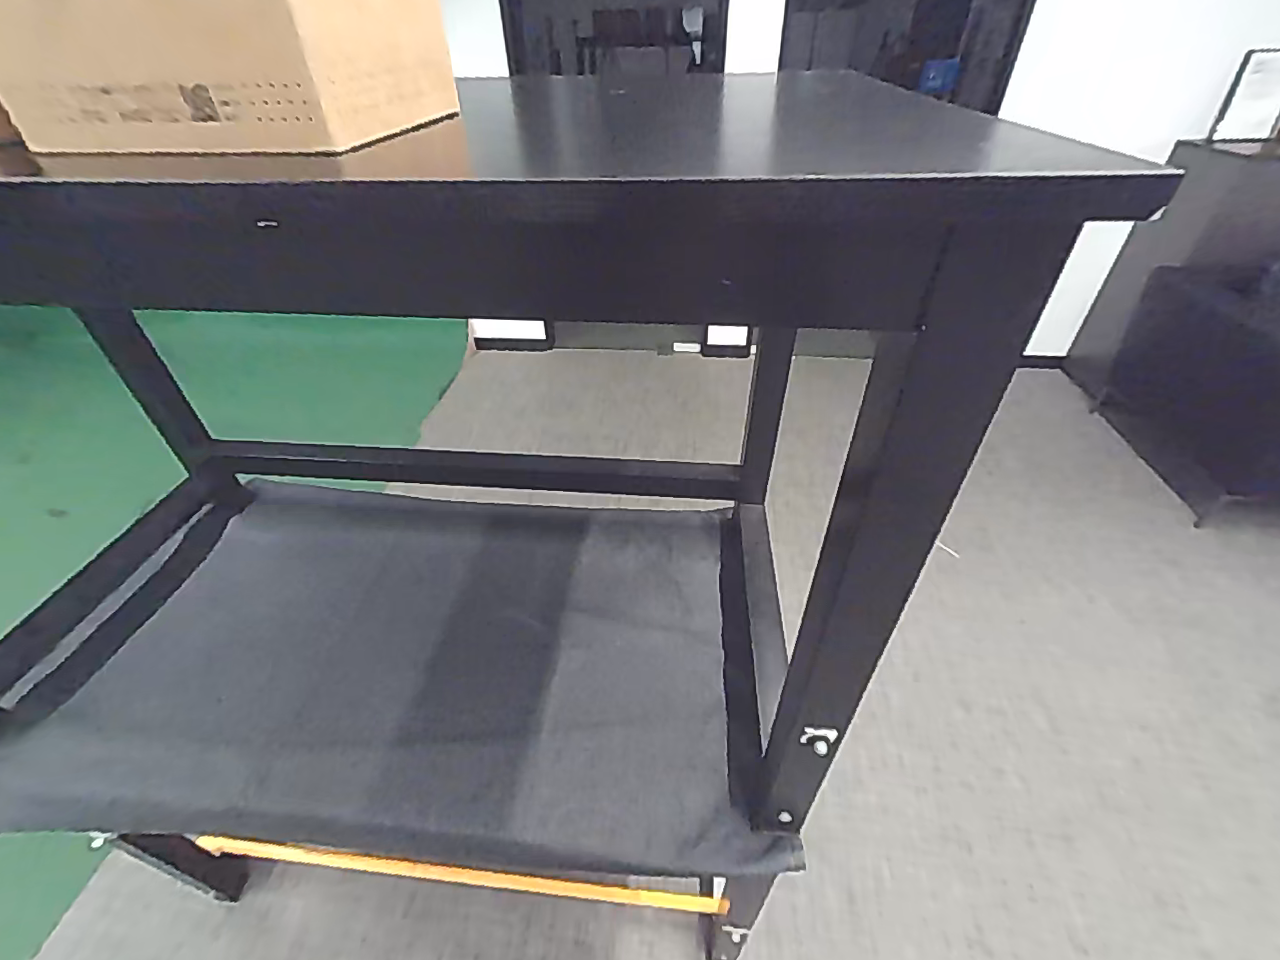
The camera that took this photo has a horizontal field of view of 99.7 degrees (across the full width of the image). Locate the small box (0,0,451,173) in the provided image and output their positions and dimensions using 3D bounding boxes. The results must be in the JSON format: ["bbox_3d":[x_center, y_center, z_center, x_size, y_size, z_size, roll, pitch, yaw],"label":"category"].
[{"bbox_3d":[-0.220,-0.272,0.288,0.168,0.176,0.179,3,40,4],"label":"small box"}]
